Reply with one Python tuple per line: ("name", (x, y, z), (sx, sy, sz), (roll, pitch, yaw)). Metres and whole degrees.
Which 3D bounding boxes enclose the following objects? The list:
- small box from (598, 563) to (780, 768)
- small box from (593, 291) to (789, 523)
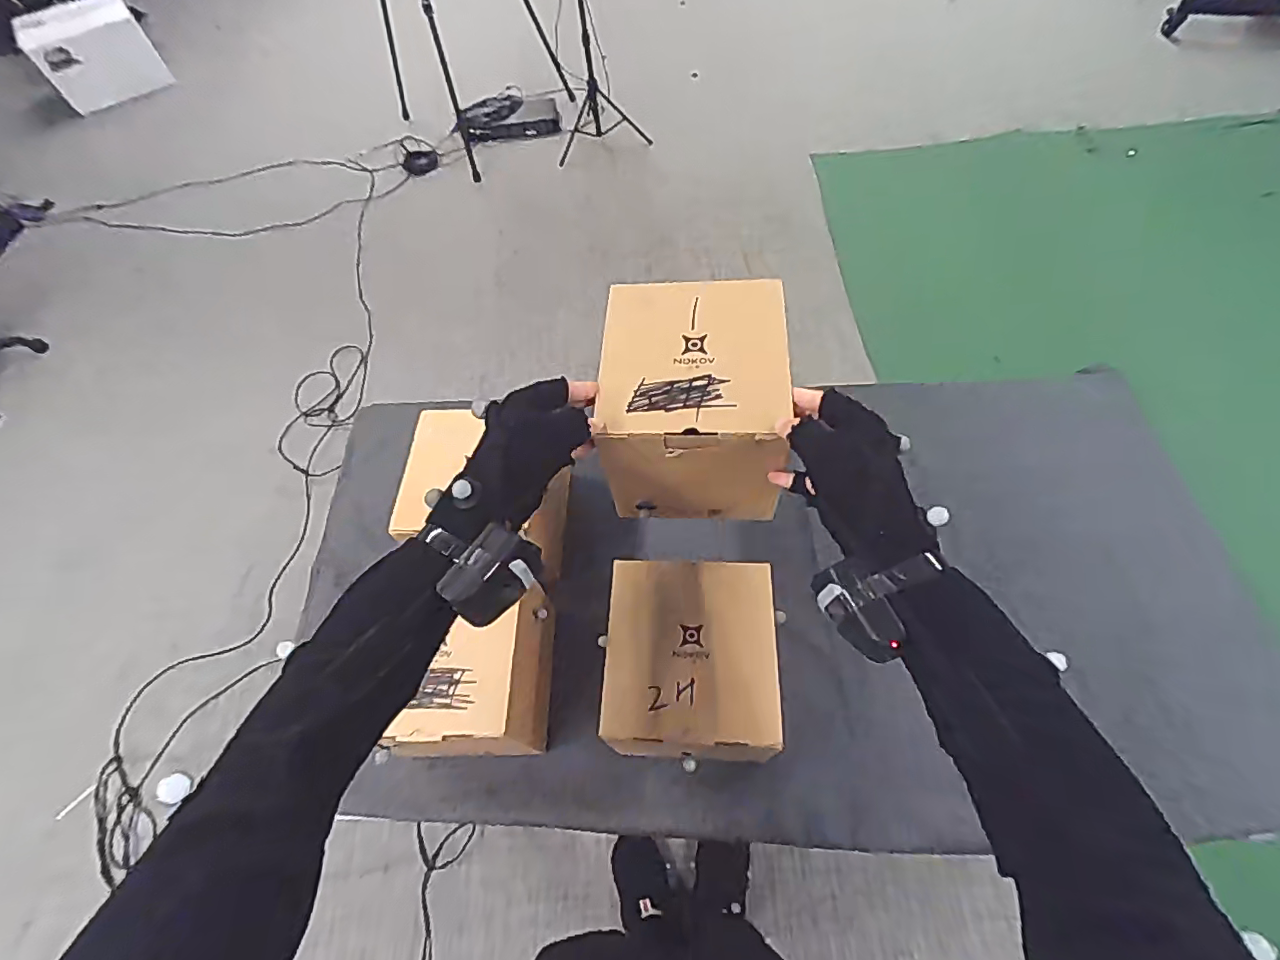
("small box", (0.053, 0.206, 0.593), (0.168, 0.176, 0.179), (1, 59, 6))
("small box", (0.055, -0.065, 0.551), (0.168, 0.176, 0.179), (1, 61, 7))
